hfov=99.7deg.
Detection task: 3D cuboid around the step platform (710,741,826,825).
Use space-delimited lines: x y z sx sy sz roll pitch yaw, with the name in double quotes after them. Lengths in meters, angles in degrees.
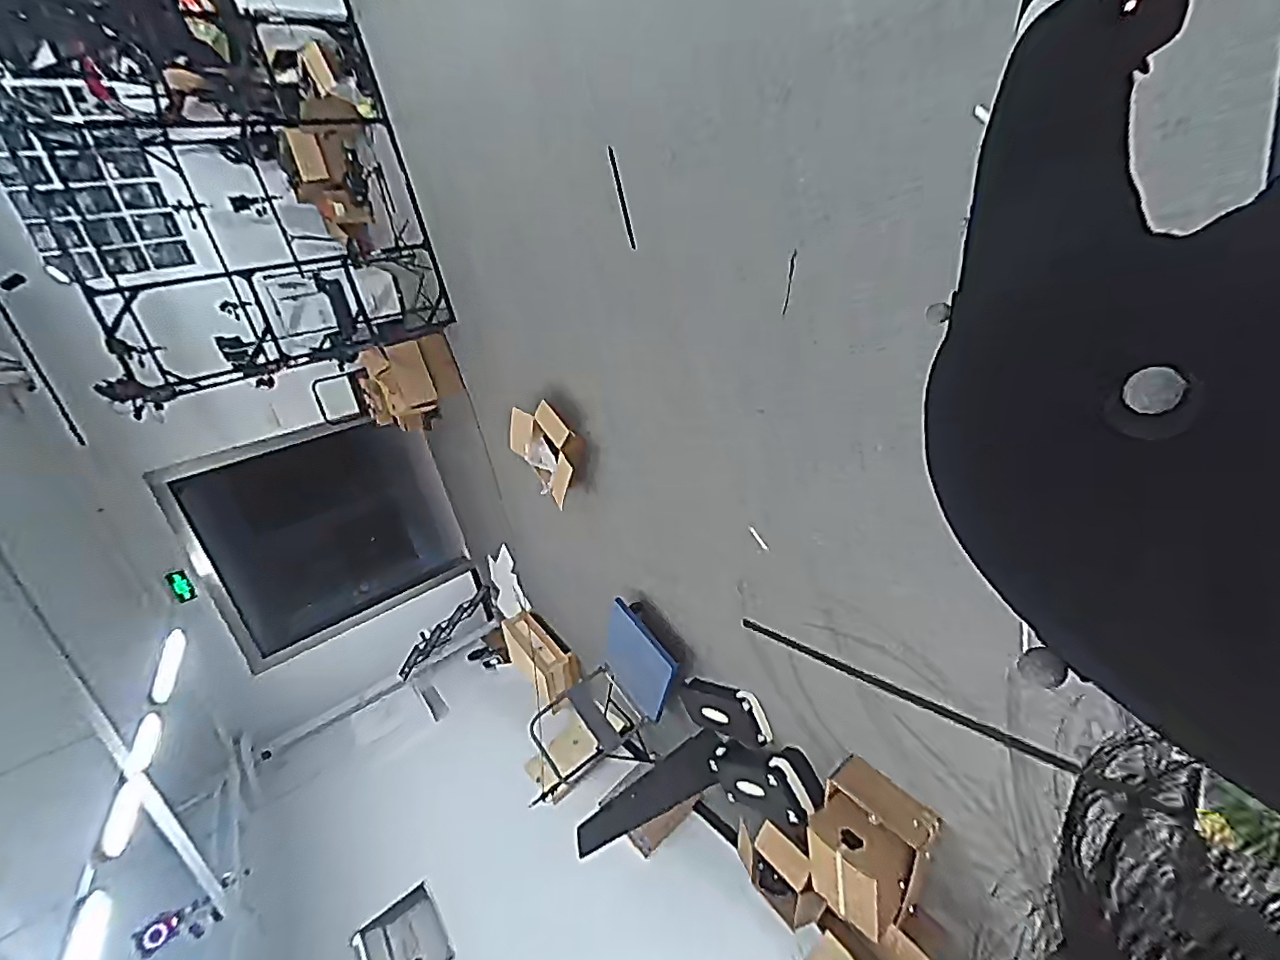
0.658 1.612 2.906 0.286 0.204 0.684 61 148 7 "step platform"
